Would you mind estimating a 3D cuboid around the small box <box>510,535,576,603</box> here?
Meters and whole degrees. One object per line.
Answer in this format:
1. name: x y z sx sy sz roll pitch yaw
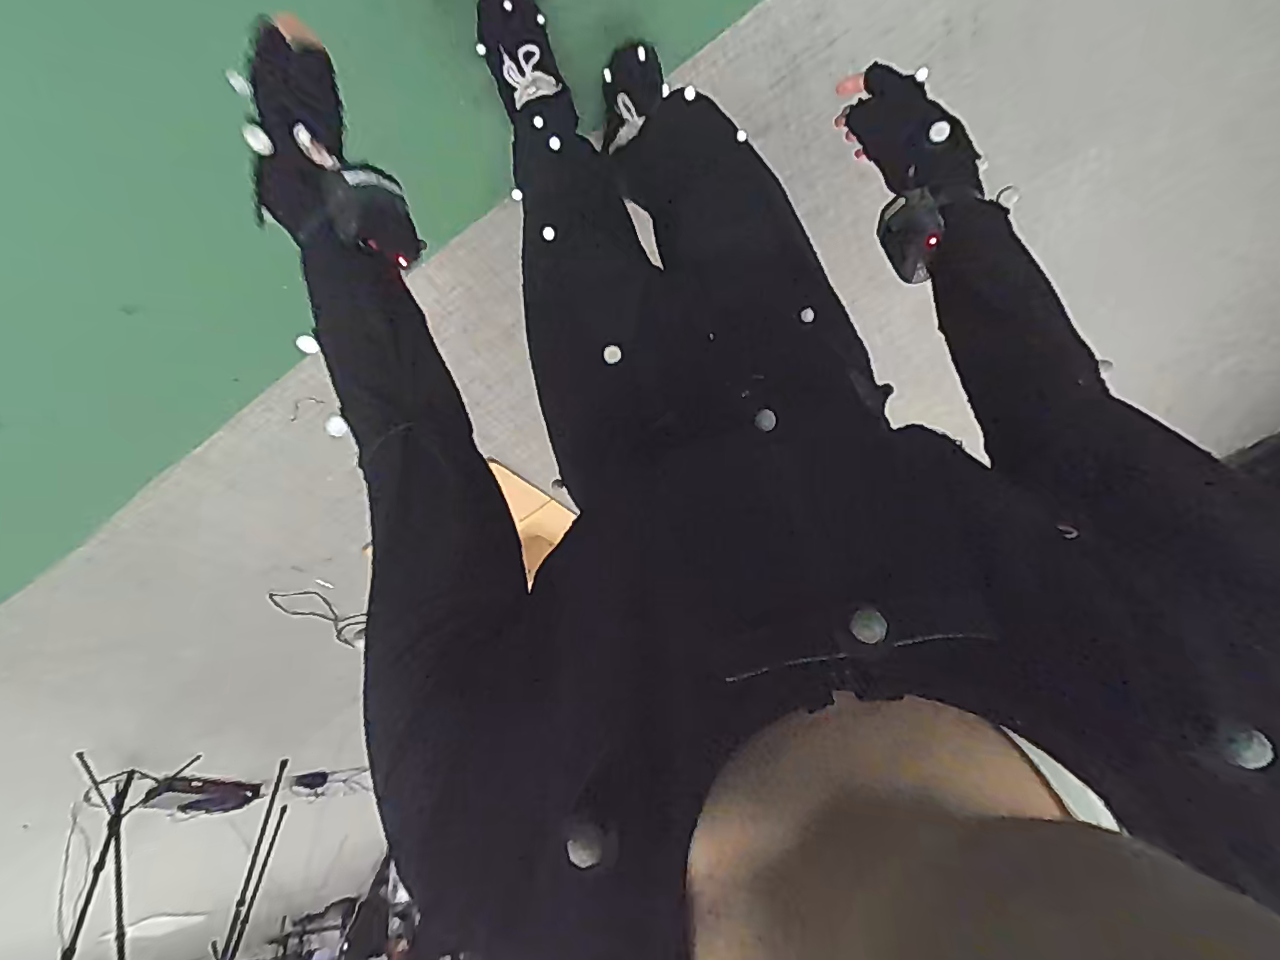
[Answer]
1. small box: -0.371 0.332 2.035 0.179 0.176 0.168 -34 138 18
